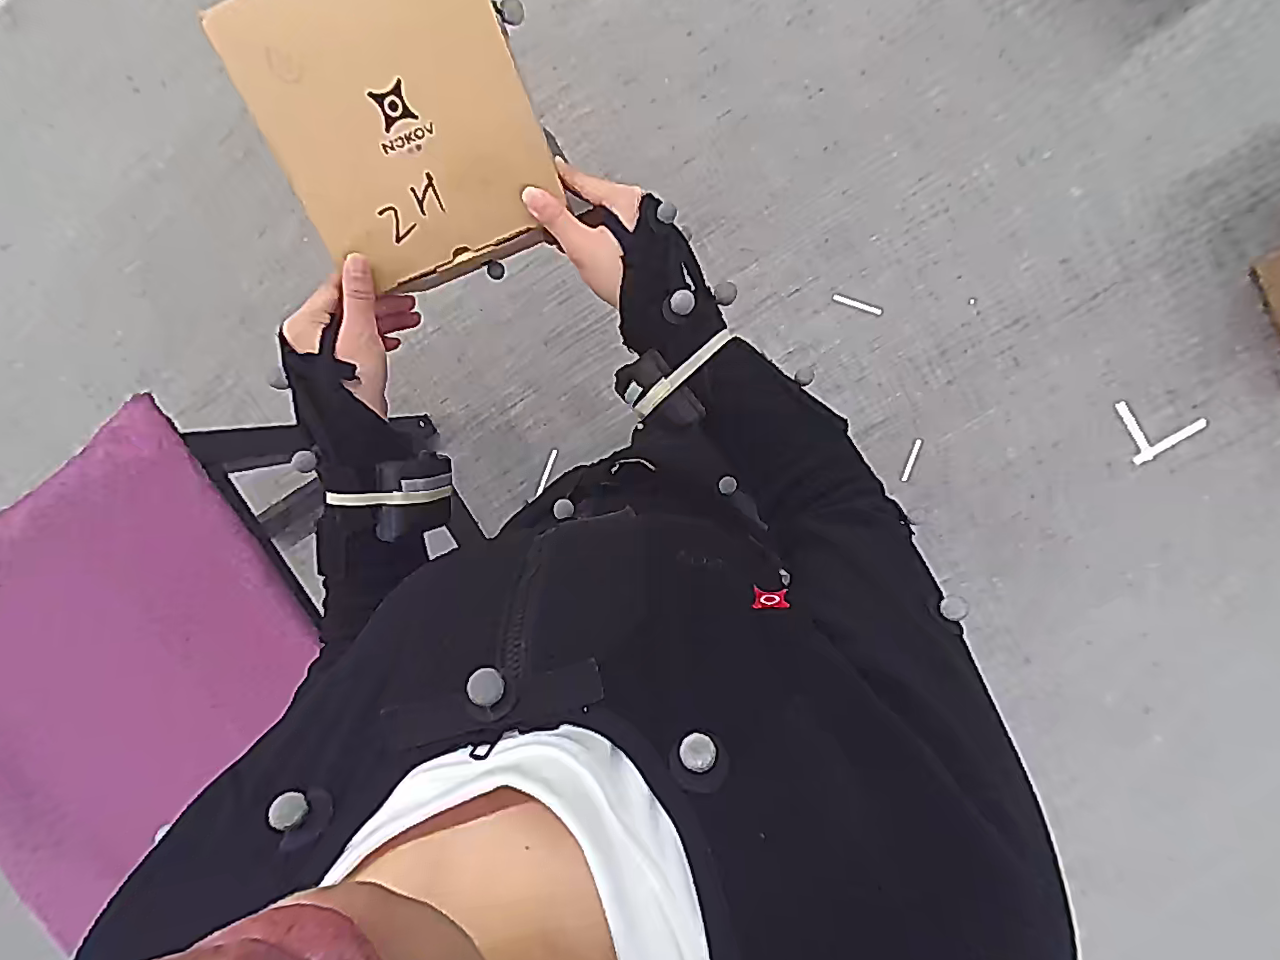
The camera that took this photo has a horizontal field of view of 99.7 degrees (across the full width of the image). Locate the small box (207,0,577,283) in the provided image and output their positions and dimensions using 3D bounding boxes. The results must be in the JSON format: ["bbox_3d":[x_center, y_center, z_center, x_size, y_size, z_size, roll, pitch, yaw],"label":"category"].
[{"bbox_3d":[-0.156,-0.265,0.415,0.168,0.176,0.179,-20,112,4],"label":"small box"}]
